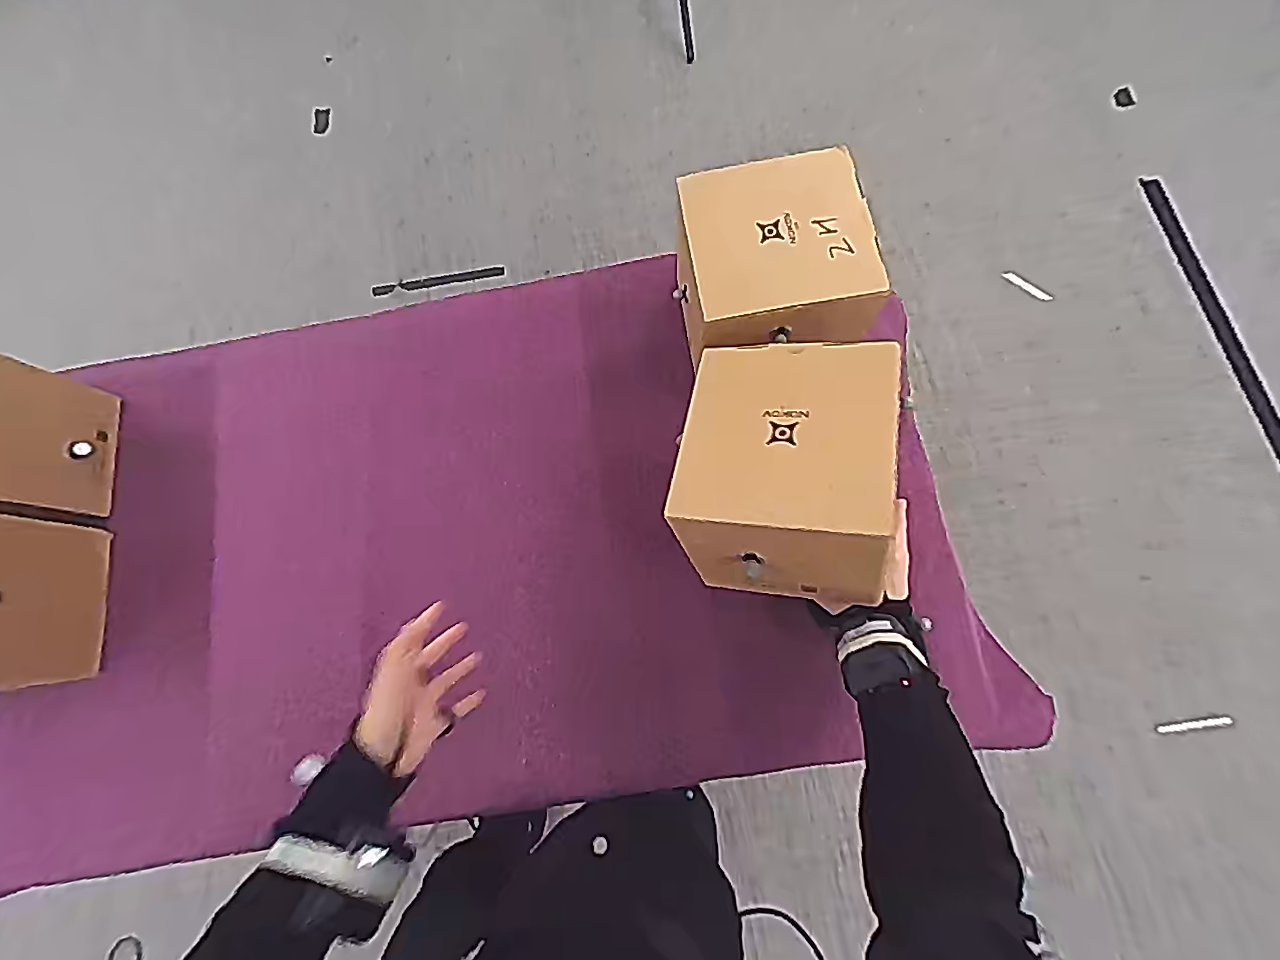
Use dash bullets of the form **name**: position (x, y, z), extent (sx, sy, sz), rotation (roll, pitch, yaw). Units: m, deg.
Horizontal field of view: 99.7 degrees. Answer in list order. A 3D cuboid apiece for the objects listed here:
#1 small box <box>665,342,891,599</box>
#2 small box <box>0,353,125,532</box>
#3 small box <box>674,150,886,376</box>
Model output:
- **small box**: position (0.138, -0.002, 0.504), extent (0.168, 0.176, 0.179), rotation (3, 60, 22)
- **small box**: position (-0.768, -0.036, 0.626), extent (0.179, 0.176, 0.168), rotation (-8, 77, 1)
- **small box**: position (0.136, -0.216, 0.594), extent (0.179, 0.176, 0.168), rotation (-9, 76, 2)
